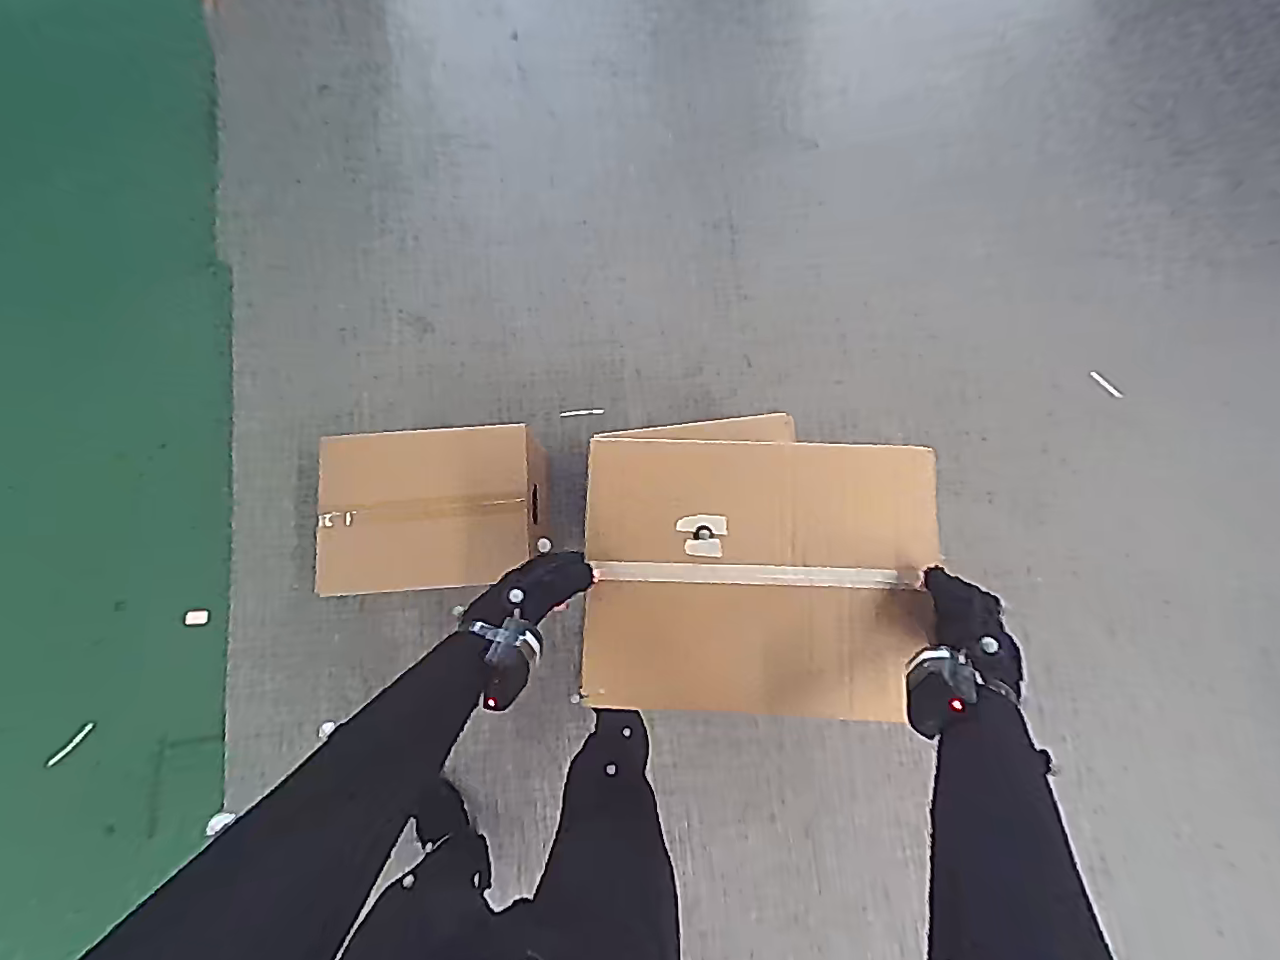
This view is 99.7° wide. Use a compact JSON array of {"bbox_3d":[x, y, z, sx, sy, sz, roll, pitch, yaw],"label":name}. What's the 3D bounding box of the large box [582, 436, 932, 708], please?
[{"bbox_3d":[0.144,0.113,0.778,0.408,0.320,0.320,1,85,4],"label":"large box"}]
